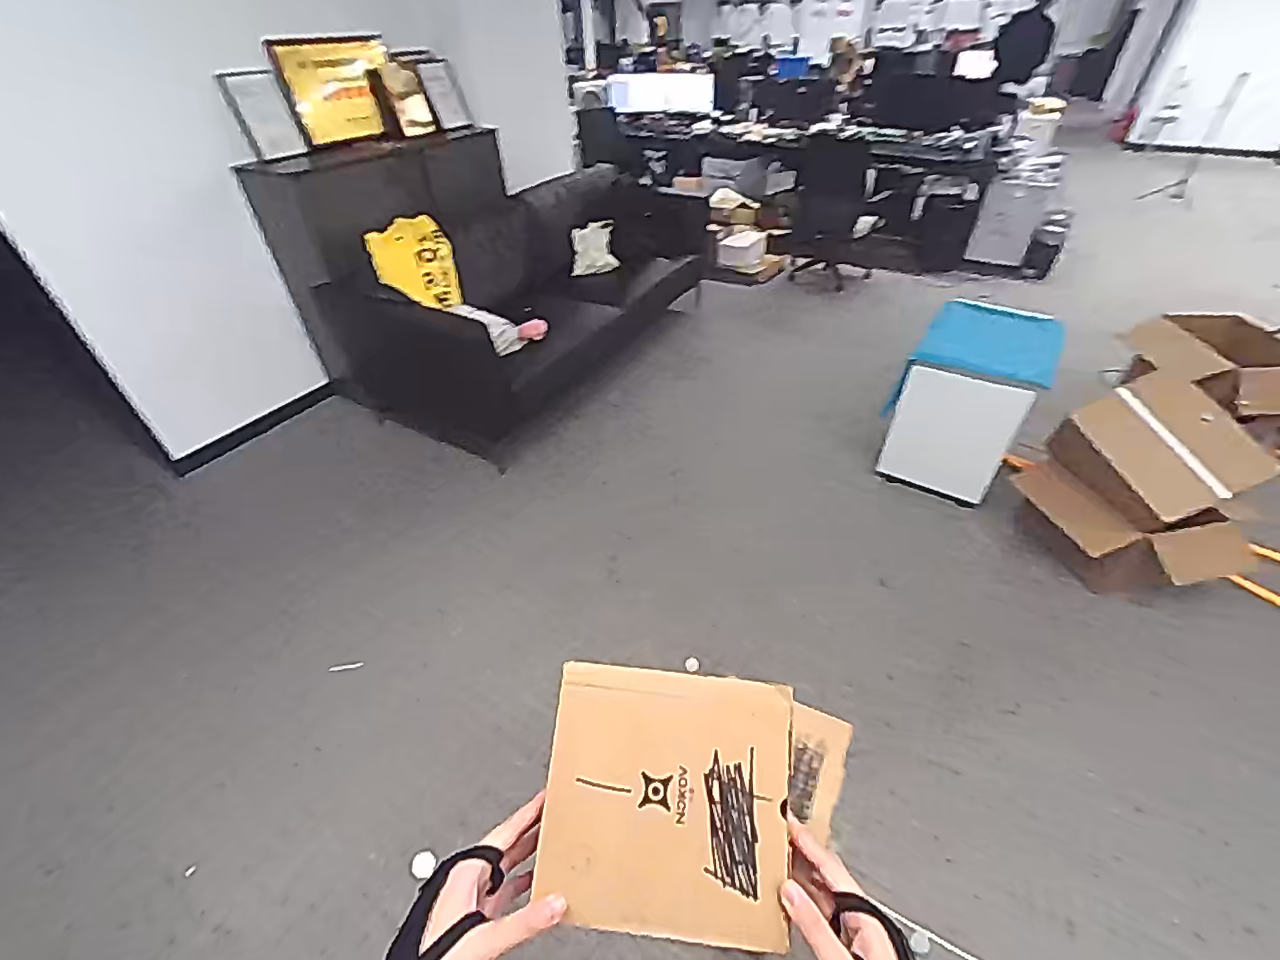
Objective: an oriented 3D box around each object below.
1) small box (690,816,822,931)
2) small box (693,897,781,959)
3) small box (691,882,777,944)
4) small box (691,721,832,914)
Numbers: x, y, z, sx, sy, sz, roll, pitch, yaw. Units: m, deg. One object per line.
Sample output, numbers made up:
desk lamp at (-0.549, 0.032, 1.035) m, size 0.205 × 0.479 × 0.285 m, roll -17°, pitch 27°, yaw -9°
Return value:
small box at (0.199, 0.650, 0.952) m, size 0.179 × 0.176 × 0.168 m, roll 18°, pitch 44°, yaw 22°
small box at (0.224, 0.896, 1.168) m, size 0.179 × 0.176 × 0.168 m, roll 19°, pitch 44°, yaw 24°
small box at (0.209, 0.766, 1.068) m, size 0.179 × 0.176 × 0.168 m, roll 19°, pitch 45°, yaw 24°
small box at (0.186, 0.526, 0.849) m, size 0.168 × 0.176 × 0.179 m, roll 17°, pitch 45°, yaw 23°
